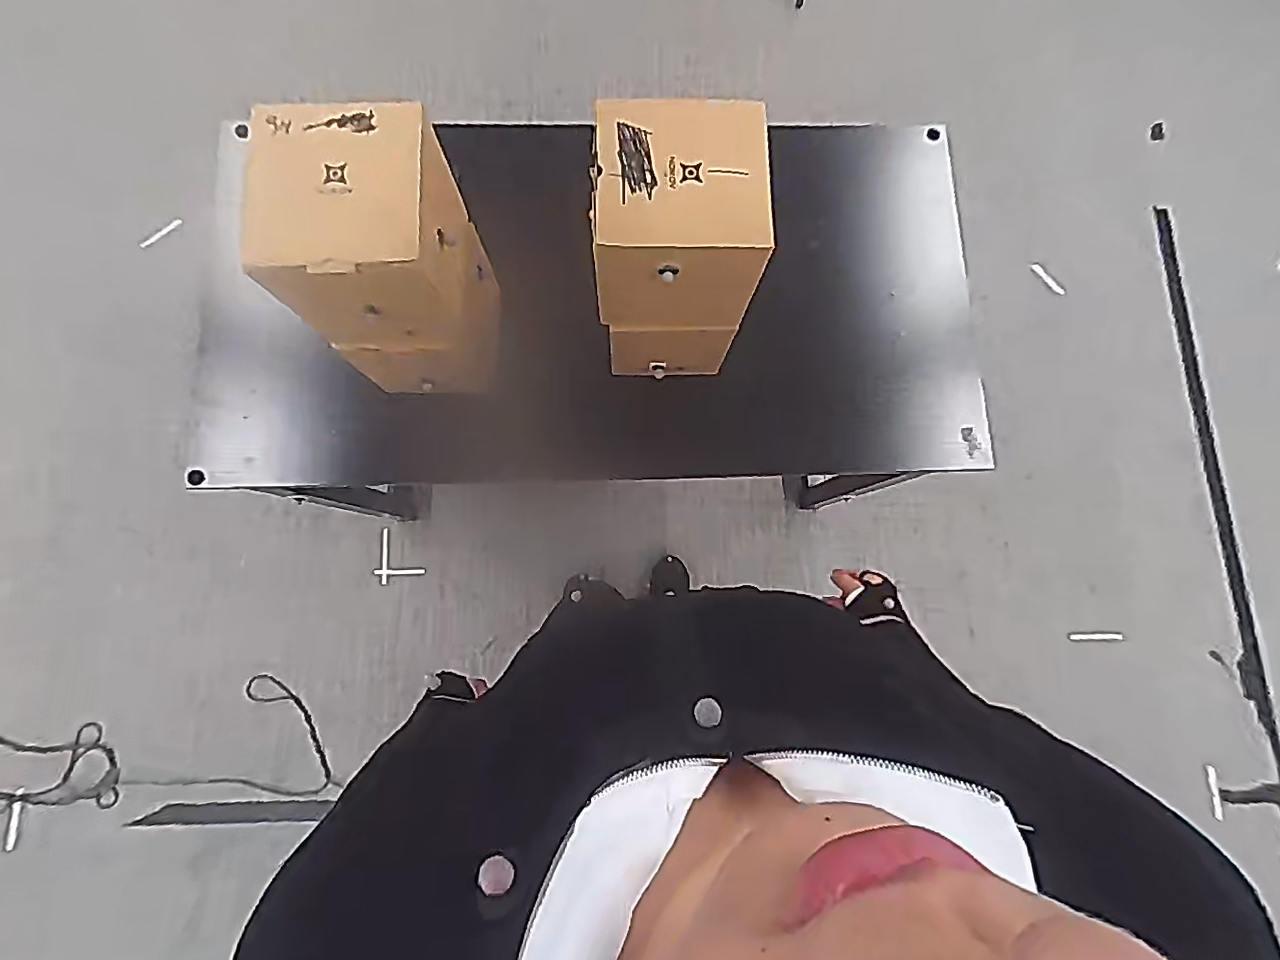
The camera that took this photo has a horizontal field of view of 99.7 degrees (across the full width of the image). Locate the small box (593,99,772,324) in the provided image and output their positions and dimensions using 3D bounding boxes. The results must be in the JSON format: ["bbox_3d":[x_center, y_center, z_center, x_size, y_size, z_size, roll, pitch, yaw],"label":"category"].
[{"bbox_3d":[0.040,-0.289,0.613,0.179,0.176,0.168,0,81,-2],"label":"small box"}]

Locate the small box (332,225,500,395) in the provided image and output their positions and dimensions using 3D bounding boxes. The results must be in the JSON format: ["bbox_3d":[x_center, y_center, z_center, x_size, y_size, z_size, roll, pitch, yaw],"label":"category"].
[{"bbox_3d":[-0.297,-0.230,0.754,0.168,0.176,0.179,0,81,-2],"label":"small box"}]

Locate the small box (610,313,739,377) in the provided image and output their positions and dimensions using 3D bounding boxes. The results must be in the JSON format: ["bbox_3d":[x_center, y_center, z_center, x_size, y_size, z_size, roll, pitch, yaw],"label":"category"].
[{"bbox_3d":[0.039,-0.261,0.775,0.168,0.176,0.179,-3,81,-1],"label":"small box"}]

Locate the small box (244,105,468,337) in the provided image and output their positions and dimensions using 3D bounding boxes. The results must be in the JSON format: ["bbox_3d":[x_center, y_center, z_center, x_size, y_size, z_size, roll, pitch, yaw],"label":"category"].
[{"bbox_3d":[-0.293,-0.266,0.594,0.168,0.176,0.179,-3,81,-3],"label":"small box"}]
